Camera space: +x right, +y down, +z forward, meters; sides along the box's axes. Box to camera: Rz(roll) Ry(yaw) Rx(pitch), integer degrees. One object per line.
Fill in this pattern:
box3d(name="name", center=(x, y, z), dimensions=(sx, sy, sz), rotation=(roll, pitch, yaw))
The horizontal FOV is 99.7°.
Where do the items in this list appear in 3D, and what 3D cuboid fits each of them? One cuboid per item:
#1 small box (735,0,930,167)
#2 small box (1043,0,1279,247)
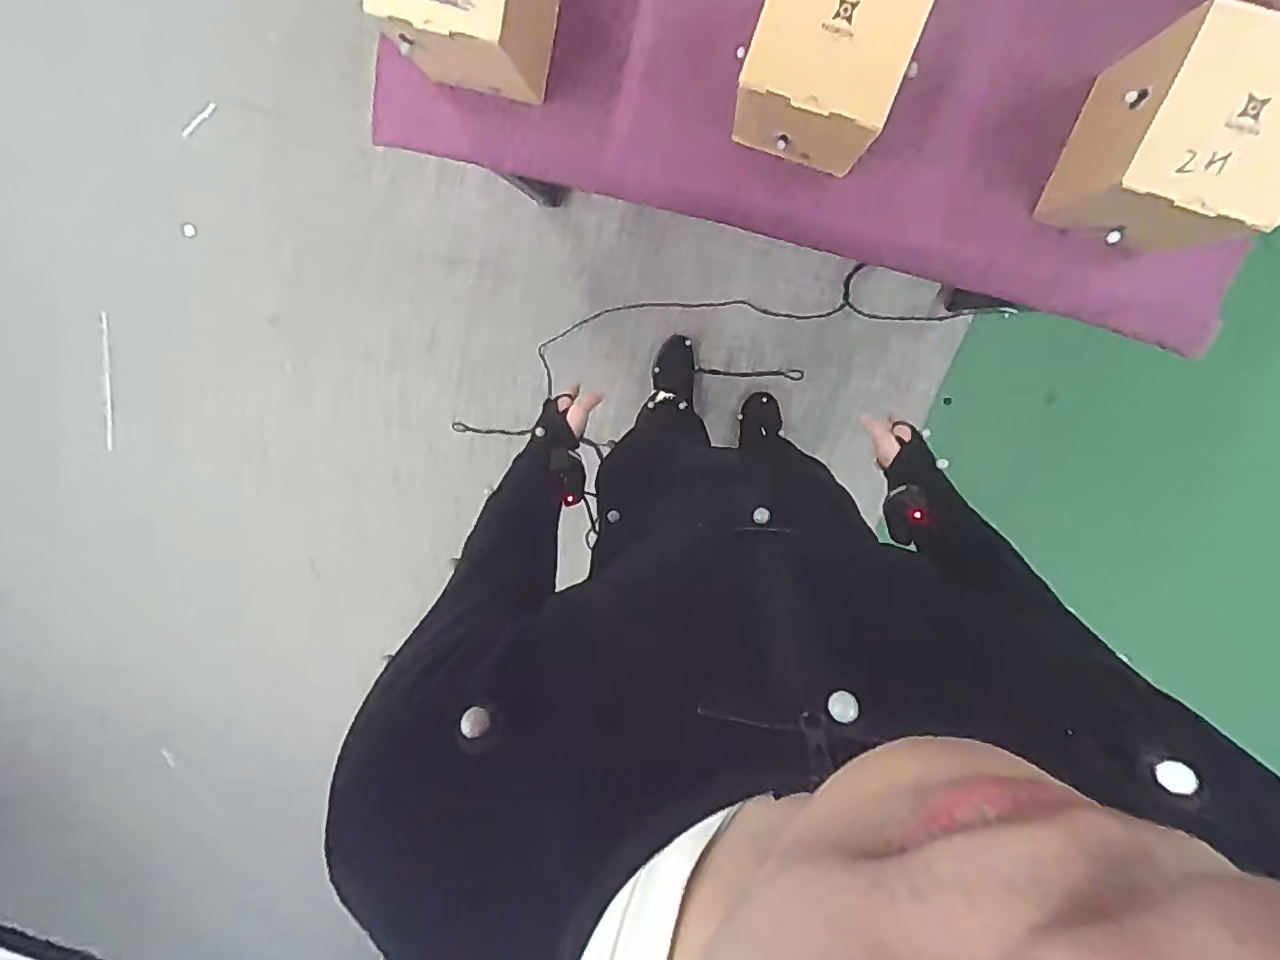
box3d(name="small box", center=(0.216, -0.505, 0.636), dimensions=(0.168, 0.176, 0.179), rotation=(19, 107, 2))
box3d(name="small box", center=(0.610, -0.386, 0.610), dimensions=(0.168, 0.176, 0.179), rotation=(19, 107, 4))
